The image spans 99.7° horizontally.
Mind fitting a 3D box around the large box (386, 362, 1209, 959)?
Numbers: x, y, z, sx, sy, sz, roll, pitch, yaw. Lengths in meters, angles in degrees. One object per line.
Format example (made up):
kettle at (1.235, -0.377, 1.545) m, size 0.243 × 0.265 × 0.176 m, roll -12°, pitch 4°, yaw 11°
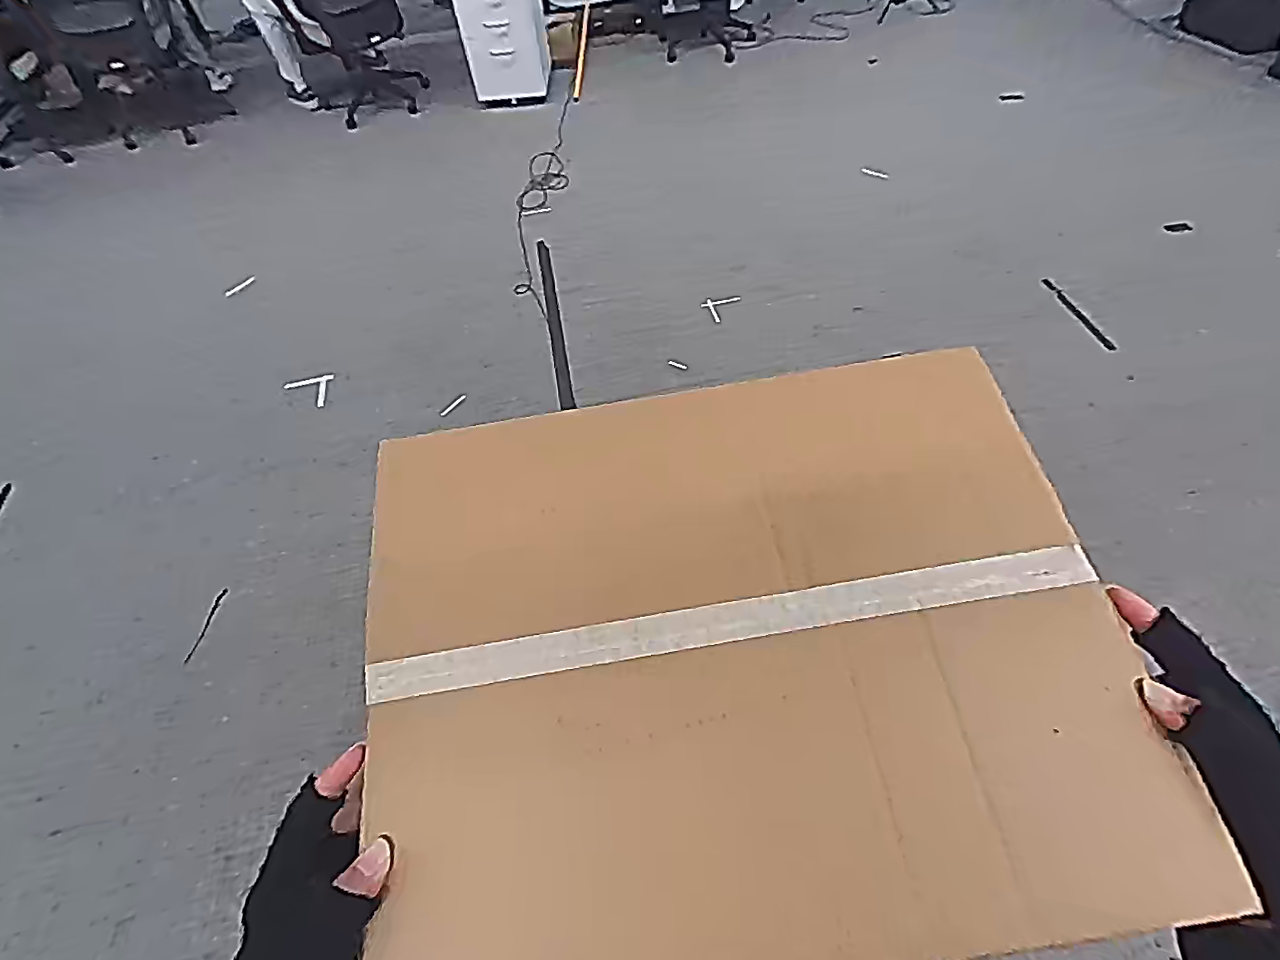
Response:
large box at (0.061, 0.149, 0.449) m, size 0.408 × 0.320 × 0.320 m, roll -10°, pitch 66°, yaw 0°
